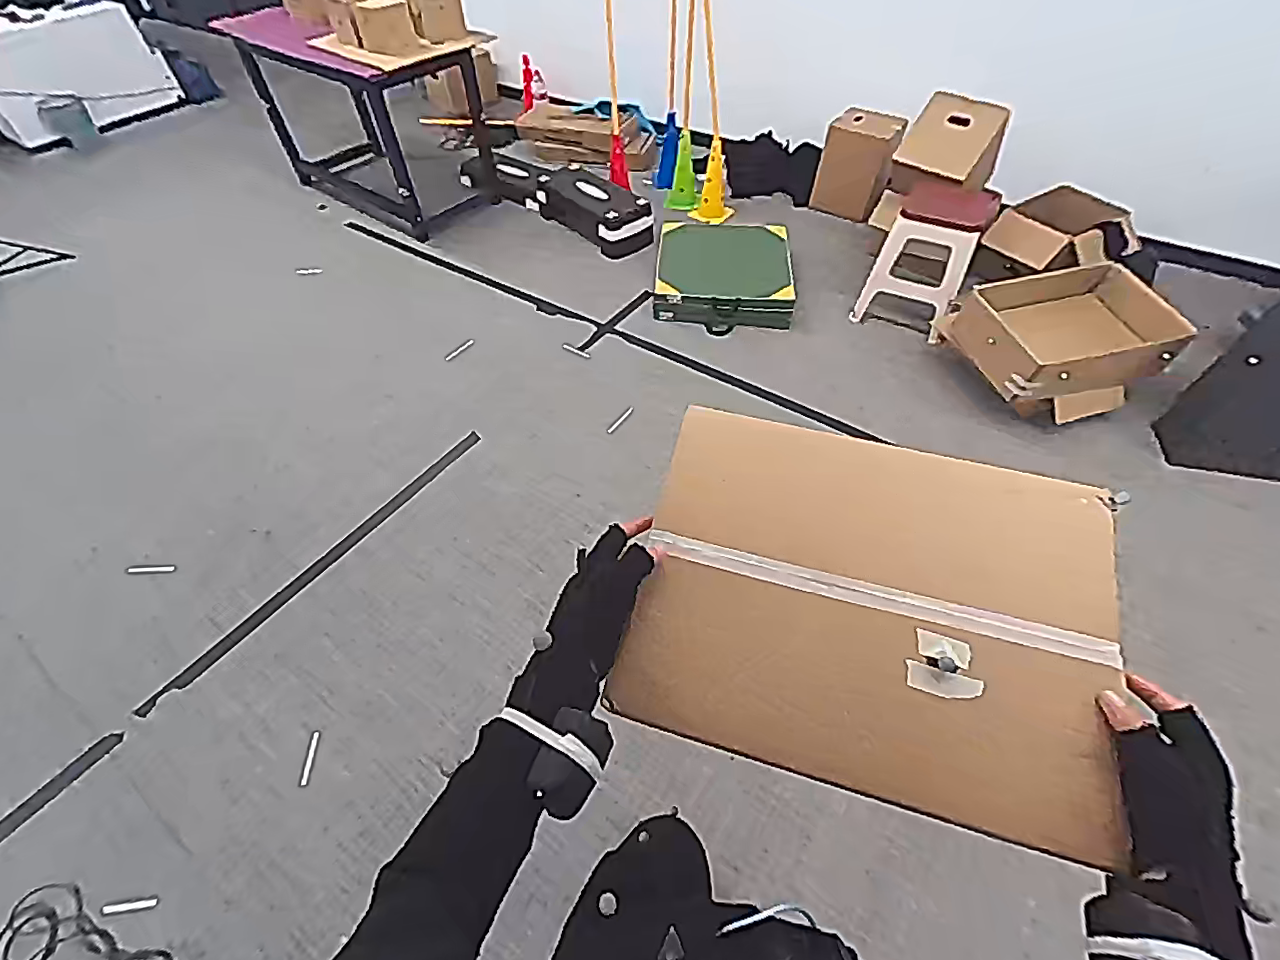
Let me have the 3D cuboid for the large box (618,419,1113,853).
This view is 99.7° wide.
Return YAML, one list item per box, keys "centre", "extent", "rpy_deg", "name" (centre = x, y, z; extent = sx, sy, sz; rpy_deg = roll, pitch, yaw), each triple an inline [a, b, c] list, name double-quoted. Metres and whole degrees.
- centre: [0.217, 0.169, 0.633]
  extent: [0.408, 0.320, 0.320]
  rpy_deg: [14, 68, 10]
  name: "large box"
